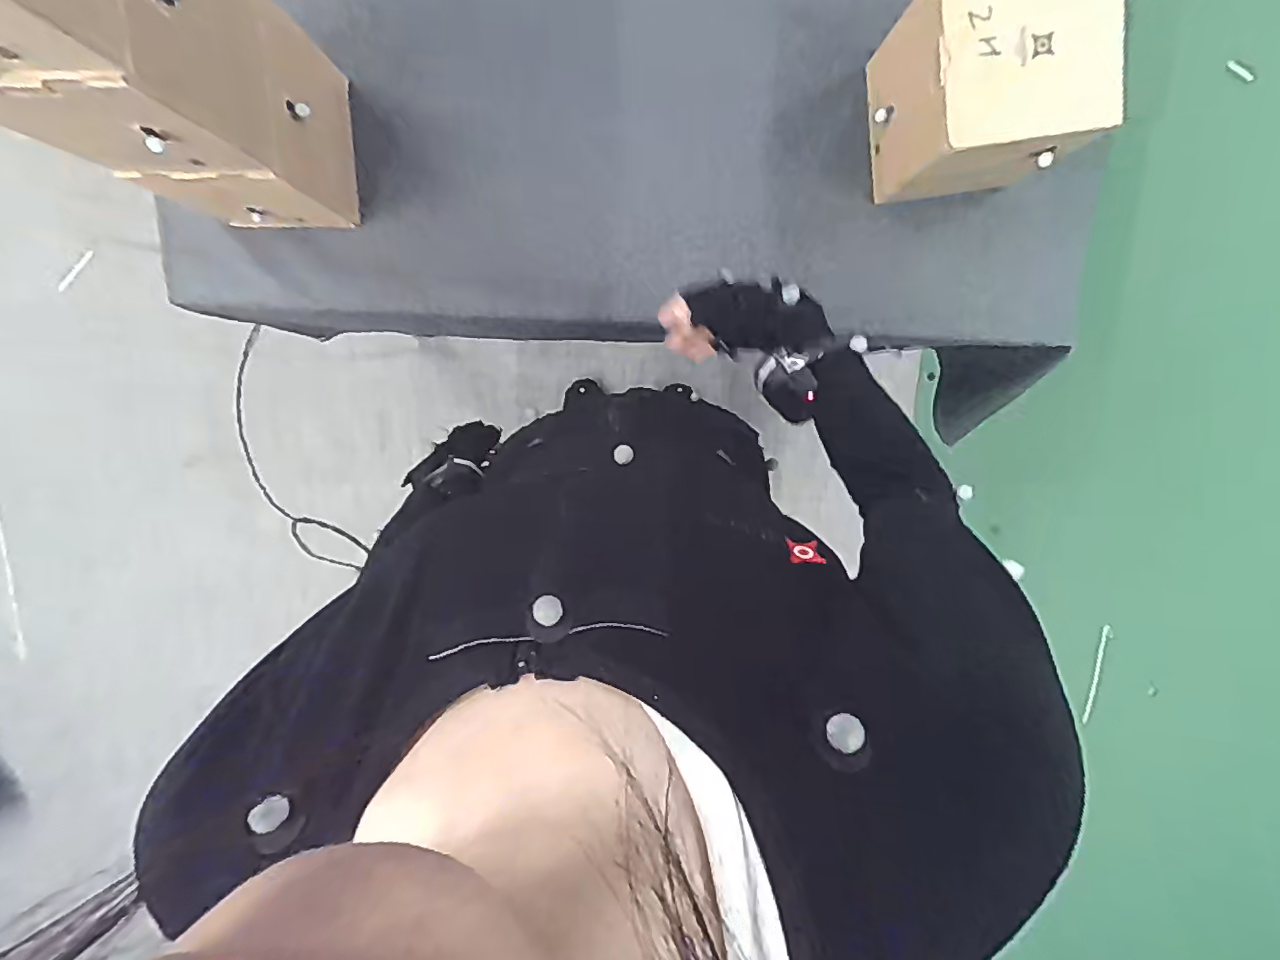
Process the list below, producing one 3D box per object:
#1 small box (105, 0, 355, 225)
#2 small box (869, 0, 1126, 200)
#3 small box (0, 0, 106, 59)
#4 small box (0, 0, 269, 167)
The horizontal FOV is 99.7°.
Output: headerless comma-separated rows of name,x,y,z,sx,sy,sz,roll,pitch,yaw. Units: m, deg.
small box,-0.440,-0.399,0.595,0.168,0.176,0.179,0,101,-1
small box,0.376,-0.430,0.594,0.179,0.176,0.168,-8,100,2
small box,-0.432,-0.352,0.272,0.168,0.176,0.179,-1,100,-2
small box,-0.435,-0.374,0.435,0.168,0.176,0.179,0,100,-2
